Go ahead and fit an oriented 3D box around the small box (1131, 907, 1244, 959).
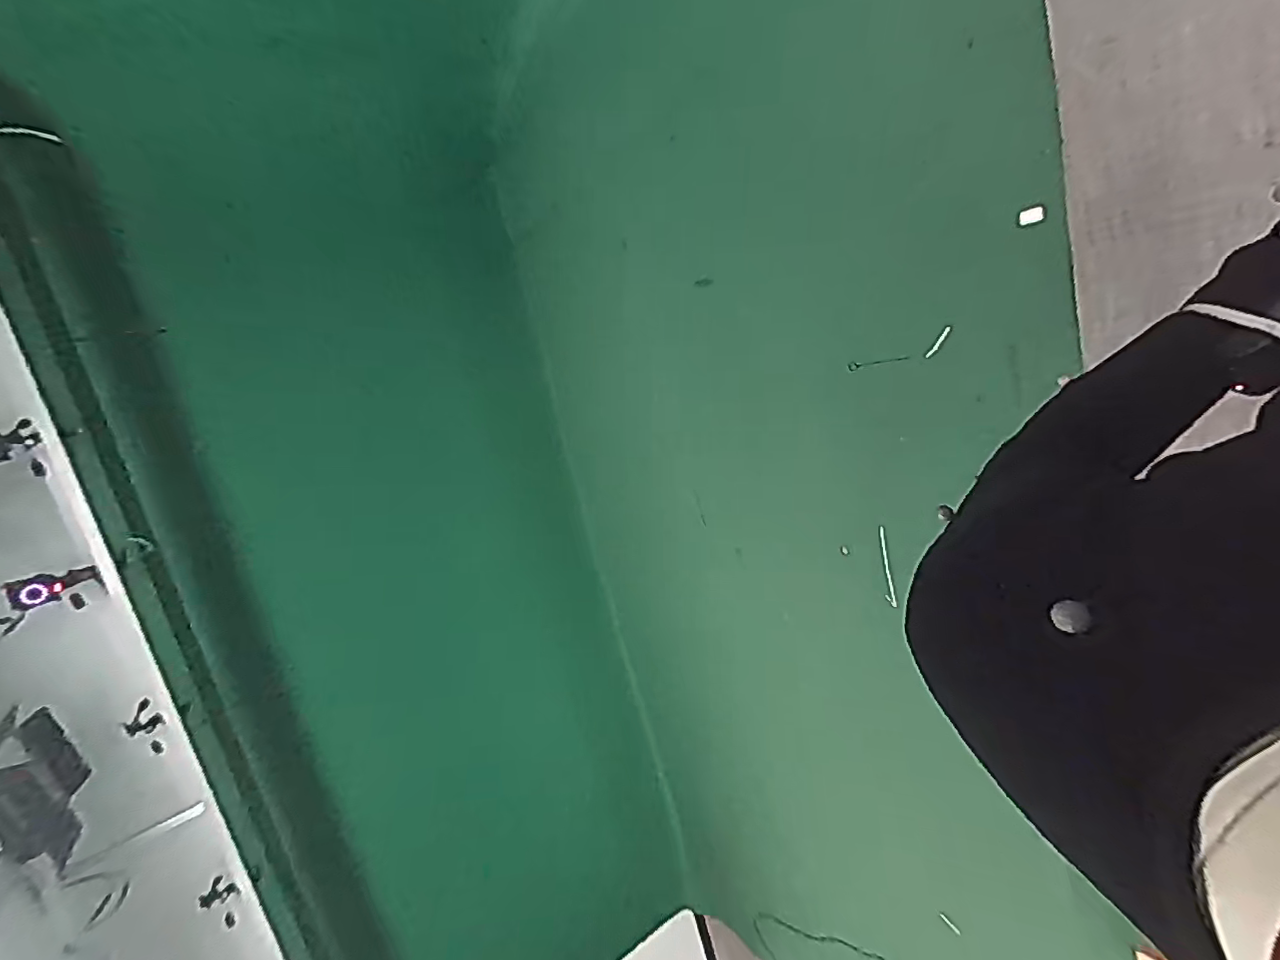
[{"bbox_3d":[1.325,1.200,1.304,0.168,0.176,0.179,0,107,58],"label":"small box"}]
